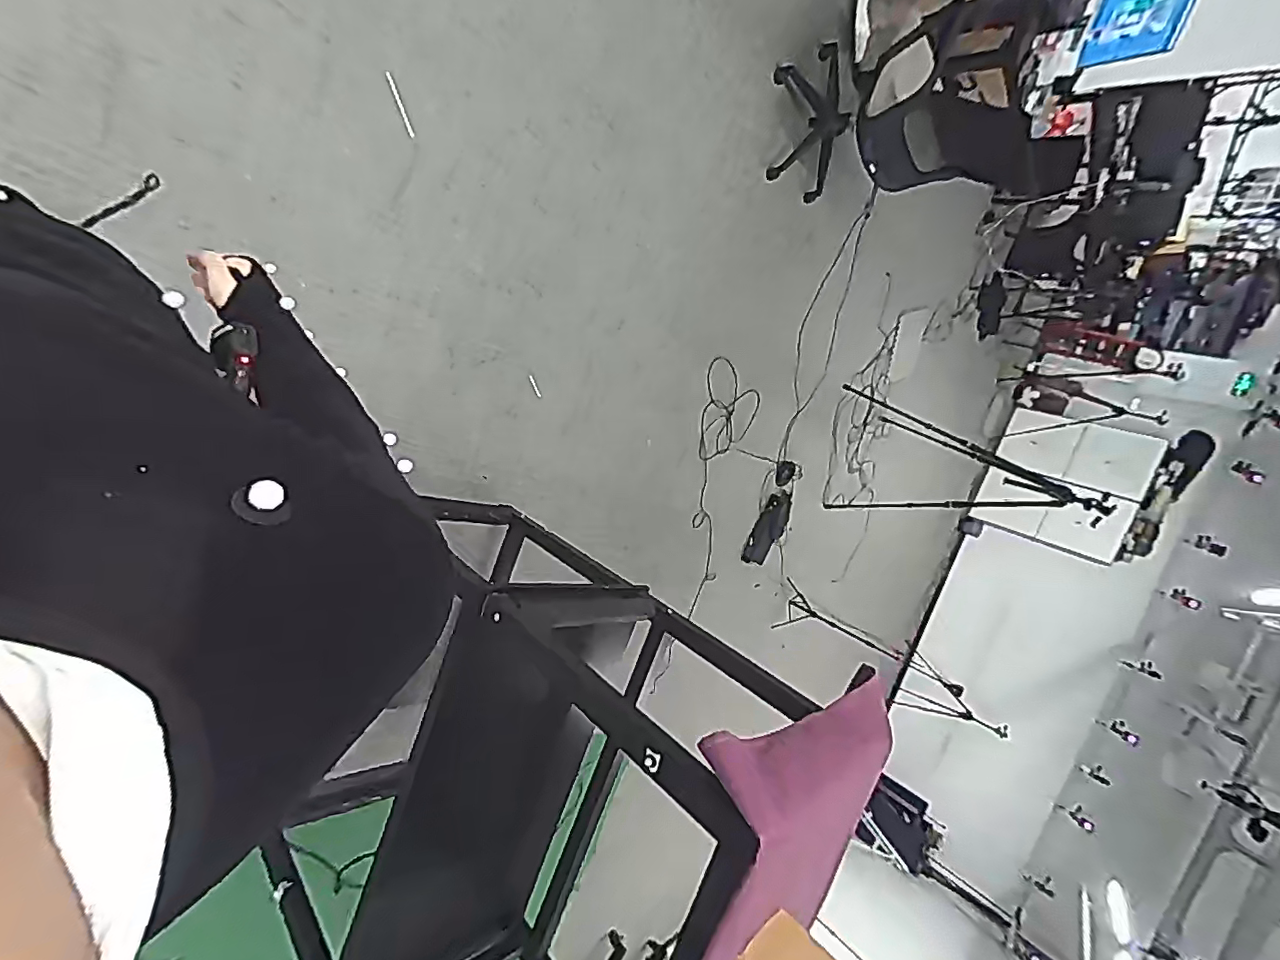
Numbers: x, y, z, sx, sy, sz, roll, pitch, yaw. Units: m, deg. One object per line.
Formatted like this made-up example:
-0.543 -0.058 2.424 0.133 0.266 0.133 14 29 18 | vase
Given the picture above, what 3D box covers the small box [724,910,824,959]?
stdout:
0.199 0.796 0.798 0.179 0.176 0.168 20 93 -51 | small box
